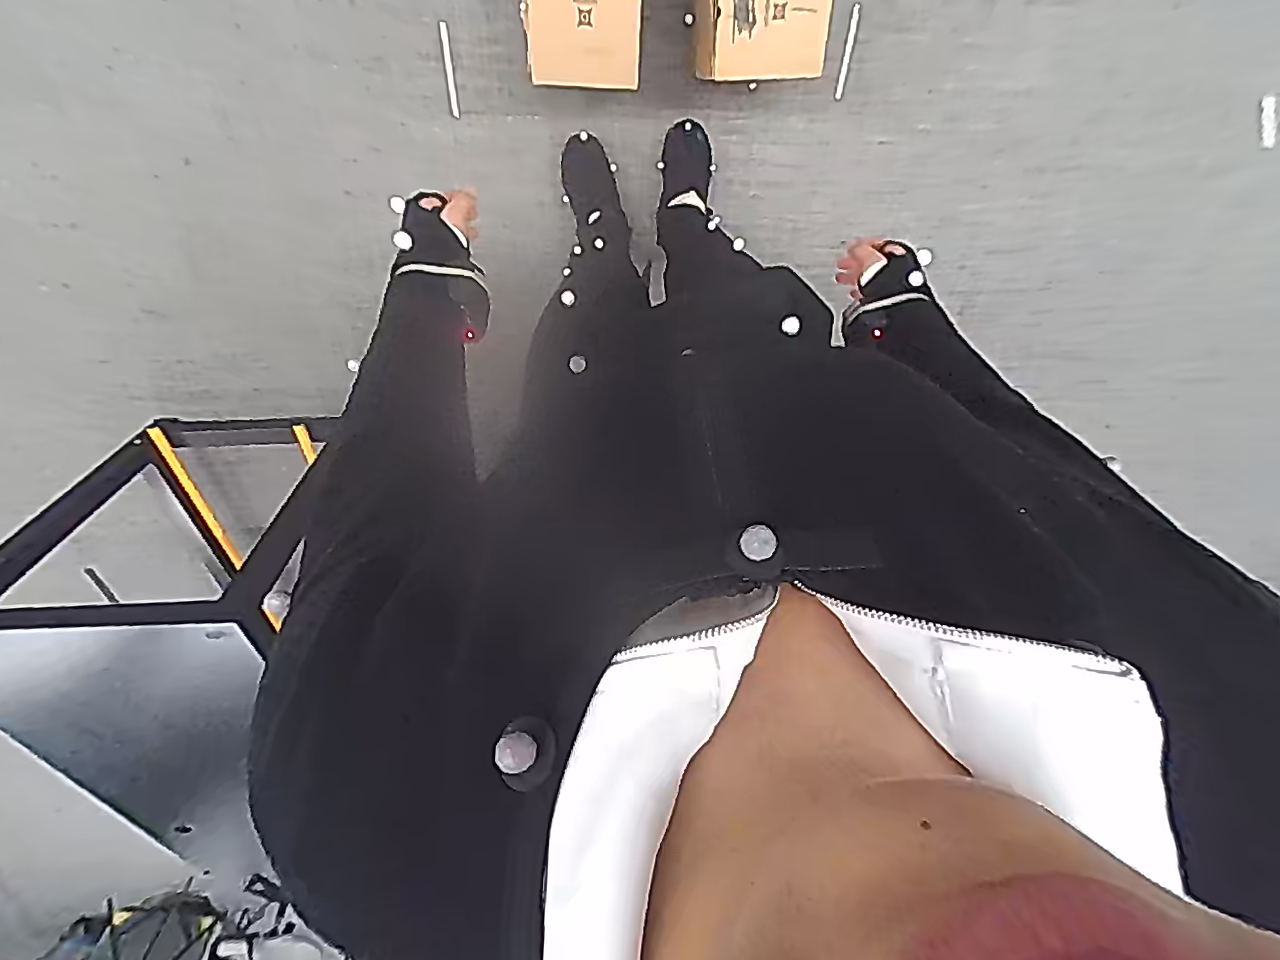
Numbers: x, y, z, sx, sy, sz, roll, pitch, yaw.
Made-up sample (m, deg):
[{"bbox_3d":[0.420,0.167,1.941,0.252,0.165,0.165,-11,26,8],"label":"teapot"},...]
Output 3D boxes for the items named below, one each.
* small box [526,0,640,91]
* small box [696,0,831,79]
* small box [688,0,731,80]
[{"bbox_3d":[-0.088,-0.722,0.842,0.168,0.176,0.179,0,129,-4],"label":"small box"},{"bbox_3d":[0.187,-0.737,0.855,0.179,0.176,0.168,-4,128,-3],"label":"small box"},{"bbox_3d":[0.182,-0.843,0.983,0.168,0.176,0.179,-3,129,-3],"label":"small box"}]
